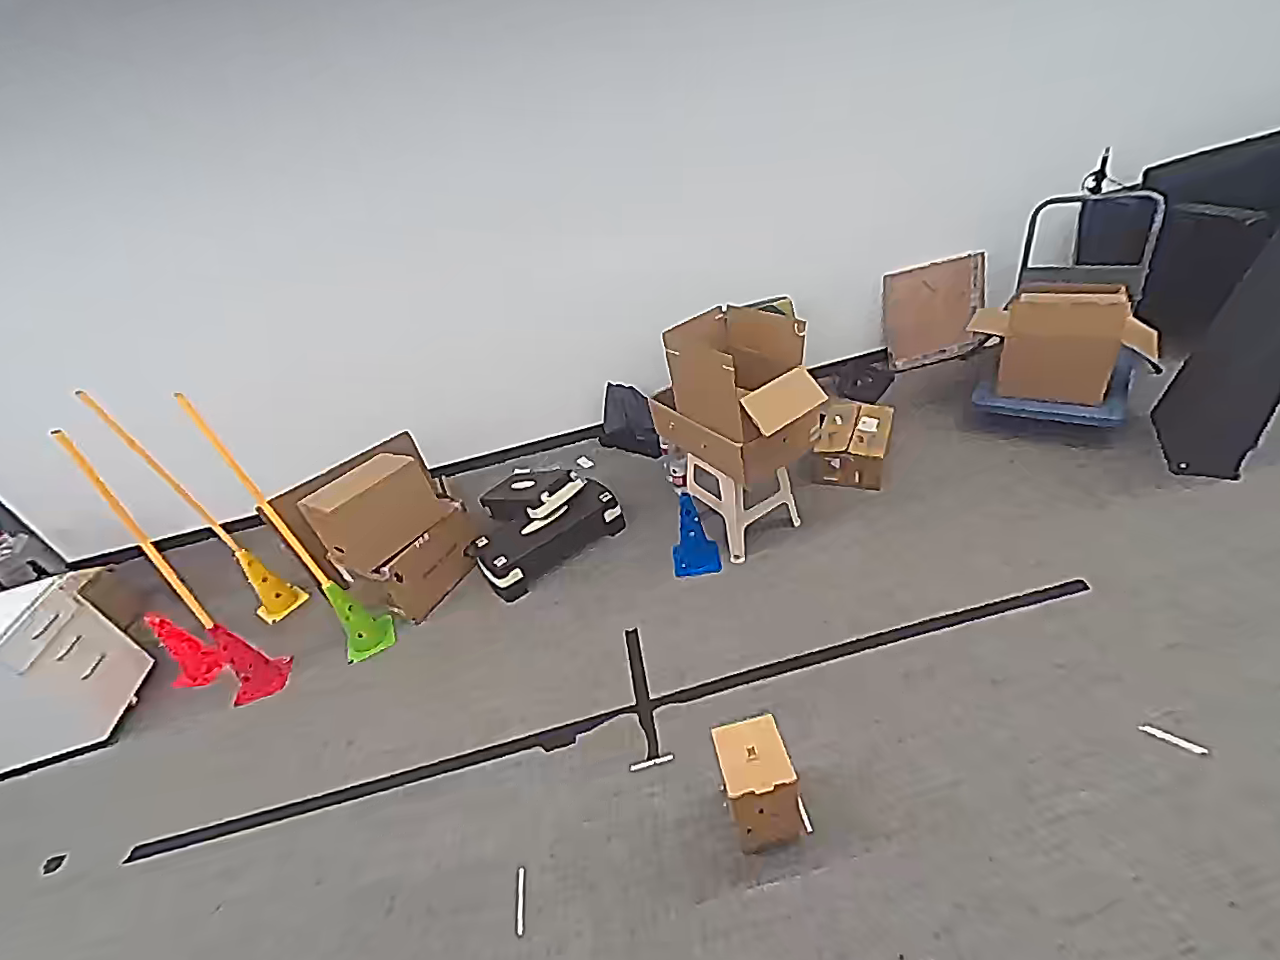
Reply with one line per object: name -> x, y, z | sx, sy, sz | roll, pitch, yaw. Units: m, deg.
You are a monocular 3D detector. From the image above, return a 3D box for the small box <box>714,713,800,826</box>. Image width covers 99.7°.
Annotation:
small box -> 0.293, 0.732, 1.368 | 0.168, 0.176, 0.179 | -14, 34, -2
